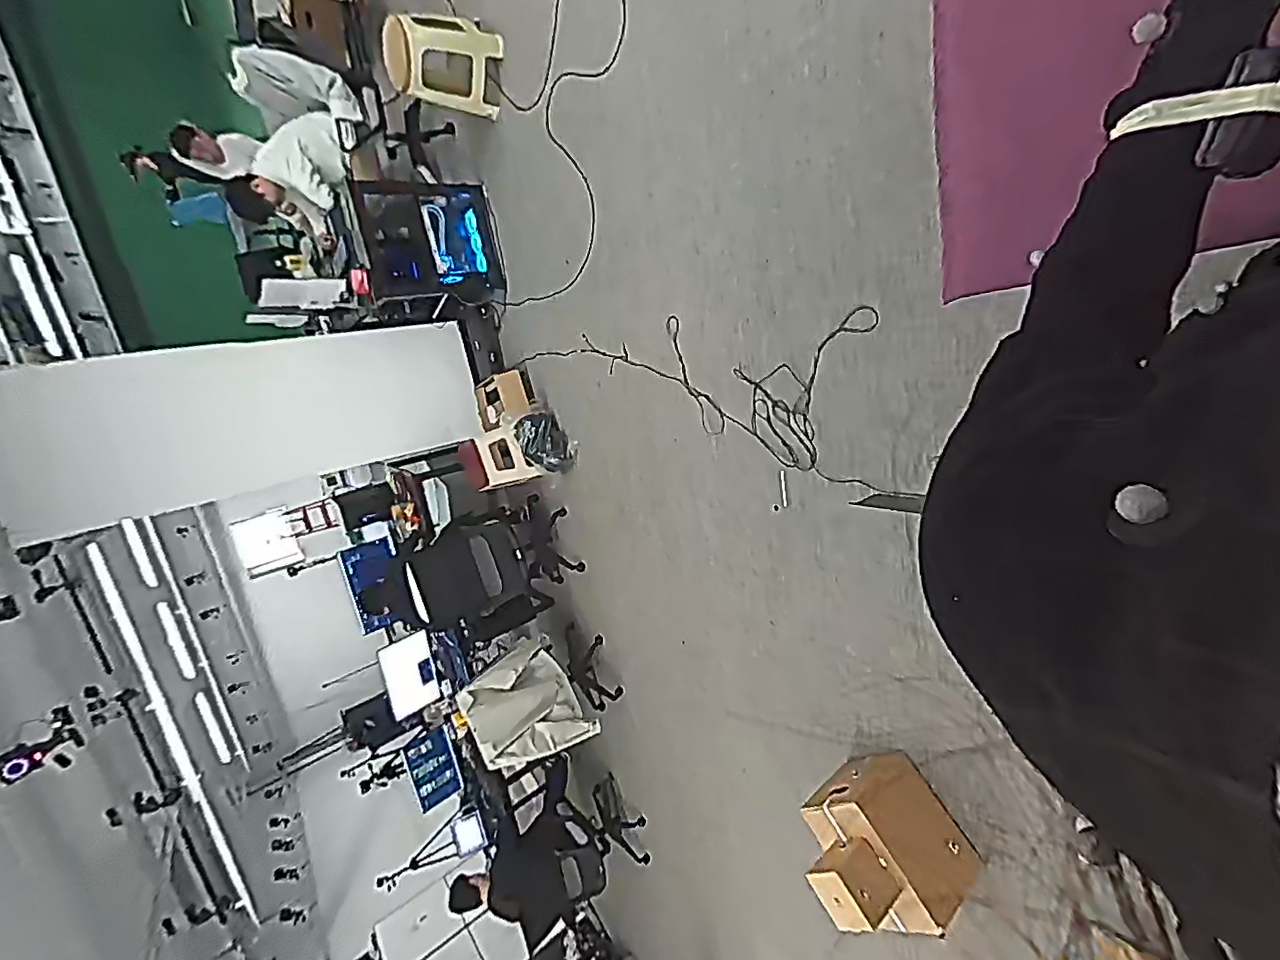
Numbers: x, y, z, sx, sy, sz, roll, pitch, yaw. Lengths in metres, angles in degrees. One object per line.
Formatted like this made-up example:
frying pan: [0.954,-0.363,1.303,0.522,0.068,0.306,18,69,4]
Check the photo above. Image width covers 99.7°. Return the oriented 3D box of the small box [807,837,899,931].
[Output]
small box: [0.677,1.276,1.714,0.179,0.176,0.168,56,142,22]
